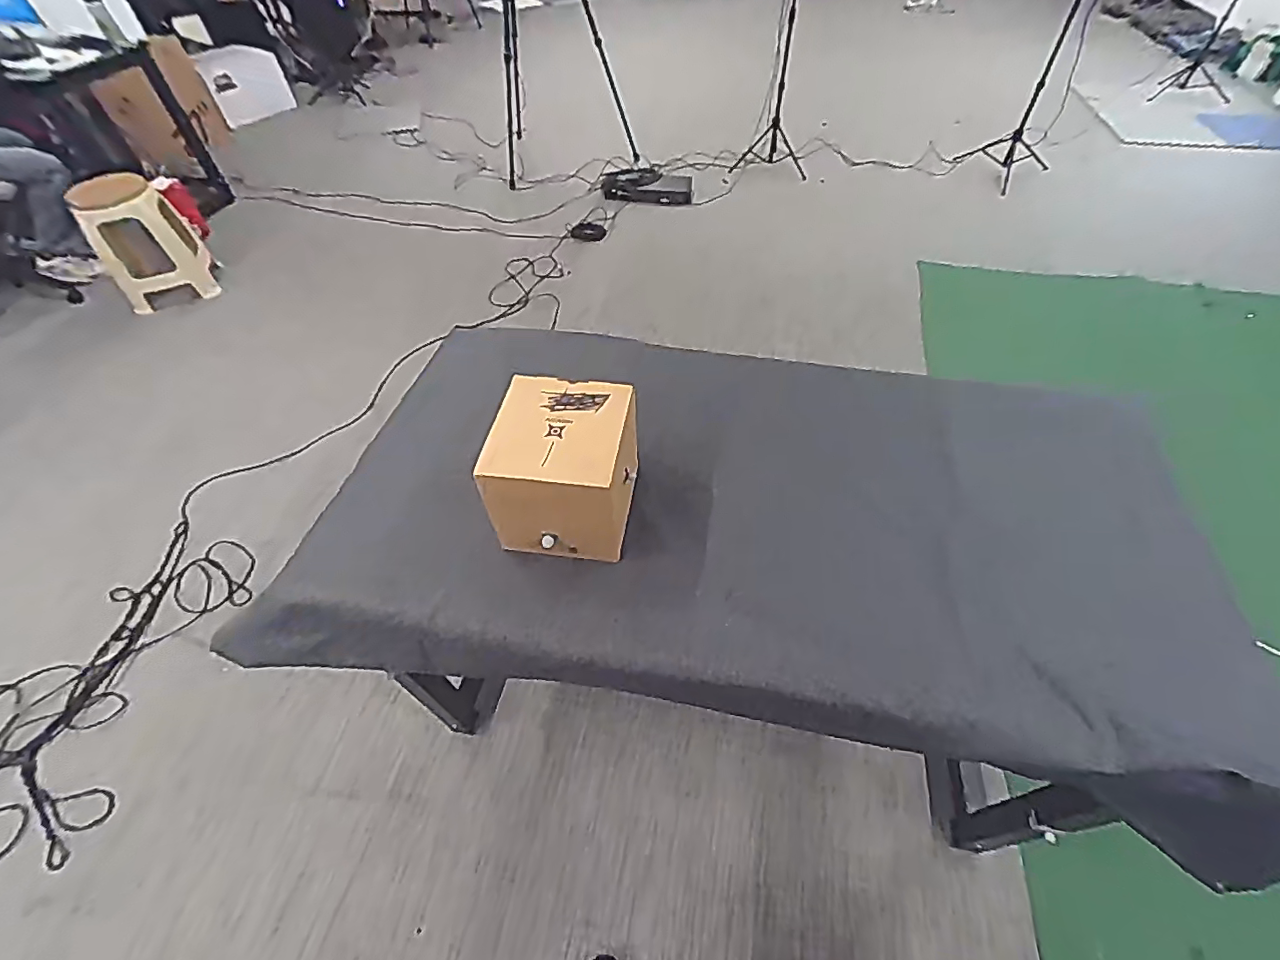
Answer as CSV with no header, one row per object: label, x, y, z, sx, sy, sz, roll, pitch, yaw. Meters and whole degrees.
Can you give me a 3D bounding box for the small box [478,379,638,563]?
small box,-0.096,-0.012,0.733,0.168,0.176,0.179,5,51,7
